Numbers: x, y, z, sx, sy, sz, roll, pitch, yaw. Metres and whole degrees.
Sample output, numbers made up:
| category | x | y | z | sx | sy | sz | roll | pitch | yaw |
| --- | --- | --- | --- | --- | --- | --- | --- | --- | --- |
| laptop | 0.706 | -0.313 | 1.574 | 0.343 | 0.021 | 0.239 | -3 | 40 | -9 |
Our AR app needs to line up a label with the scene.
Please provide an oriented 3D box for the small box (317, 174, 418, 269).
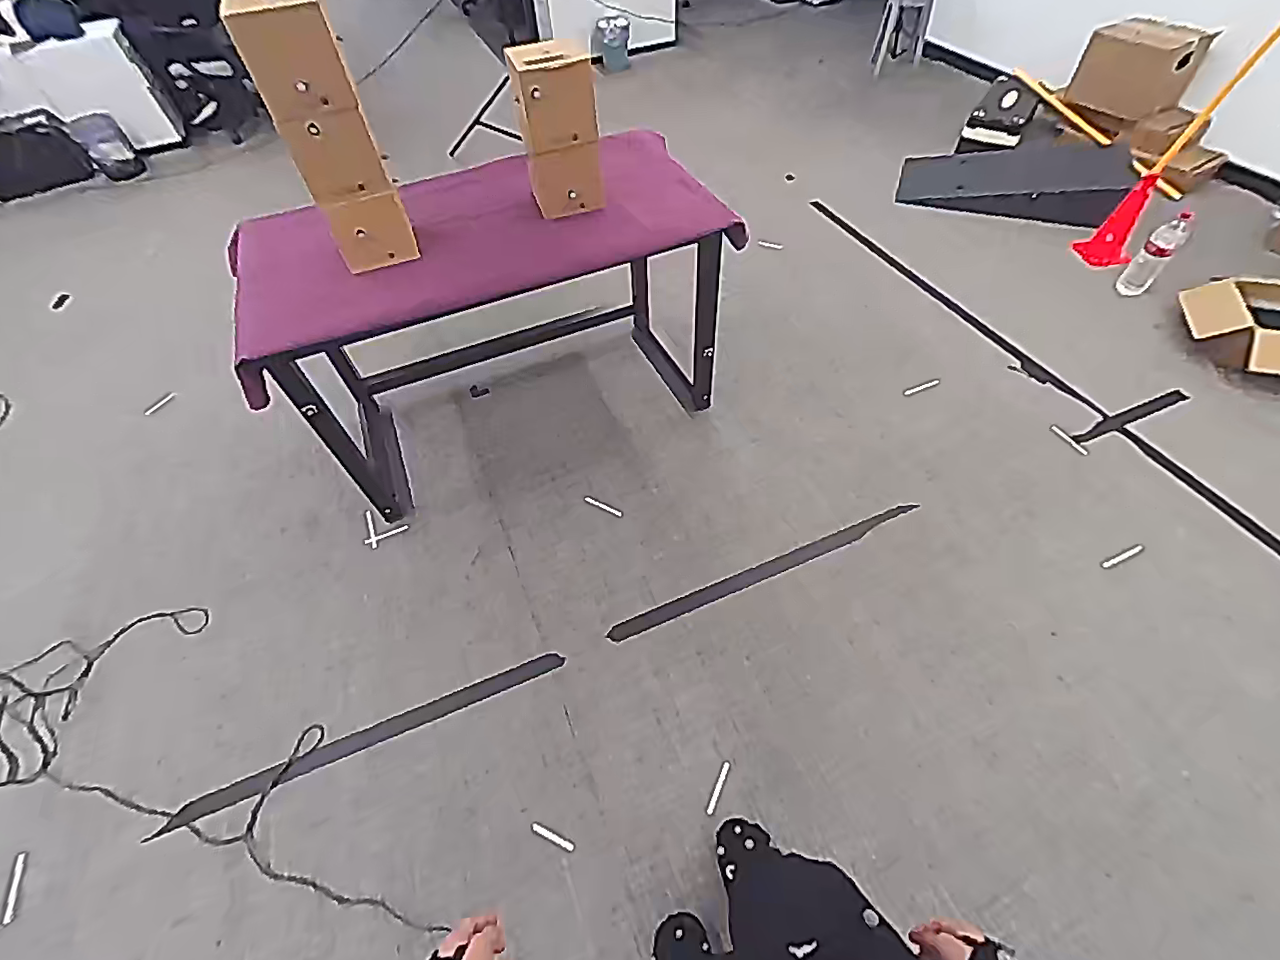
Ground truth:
| category | x | y | z | sx | sy | sz | roll | pitch | yaw |
| --- | --- | --- | --- | --- | --- | --- | --- | --- | --- |
| small box | -0.661 | -0.636 | 1.317 | 0.168 | 0.176 | 0.179 | -20 | 55 | -11 |

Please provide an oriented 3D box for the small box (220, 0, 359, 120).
| category | x | y | z | sx | sy | sz | roll | pitch | yaw |
| --- | --- | --- | --- | --- | --- | --- | --- | --- | --- |
| small box | -0.674 | -0.835 | 1.056 | 0.168 | 0.176 | 0.179 | -20 | 55 | -11 |

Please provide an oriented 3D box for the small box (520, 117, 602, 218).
| category | x | y | z | sx | sy | sz | roll | pitch | yaw |
| --- | --- | --- | --- | --- | --- | --- | --- | --- | --- |
| small box | -0.205 | -0.821 | 1.425 | 0.168 | 0.176 | 0.179 | -17 | 54 | -8 |

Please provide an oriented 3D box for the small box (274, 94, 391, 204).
| category | x | y | z | sx | sy | sz | roll | pitch | yaw |
| --- | --- | --- | --- | --- | --- | --- | --- | --- | --- |
| small box | -0.671 | -0.737 | 1.189 | 0.168 | 0.176 | 0.179 | -21 | 54 | -11 |
